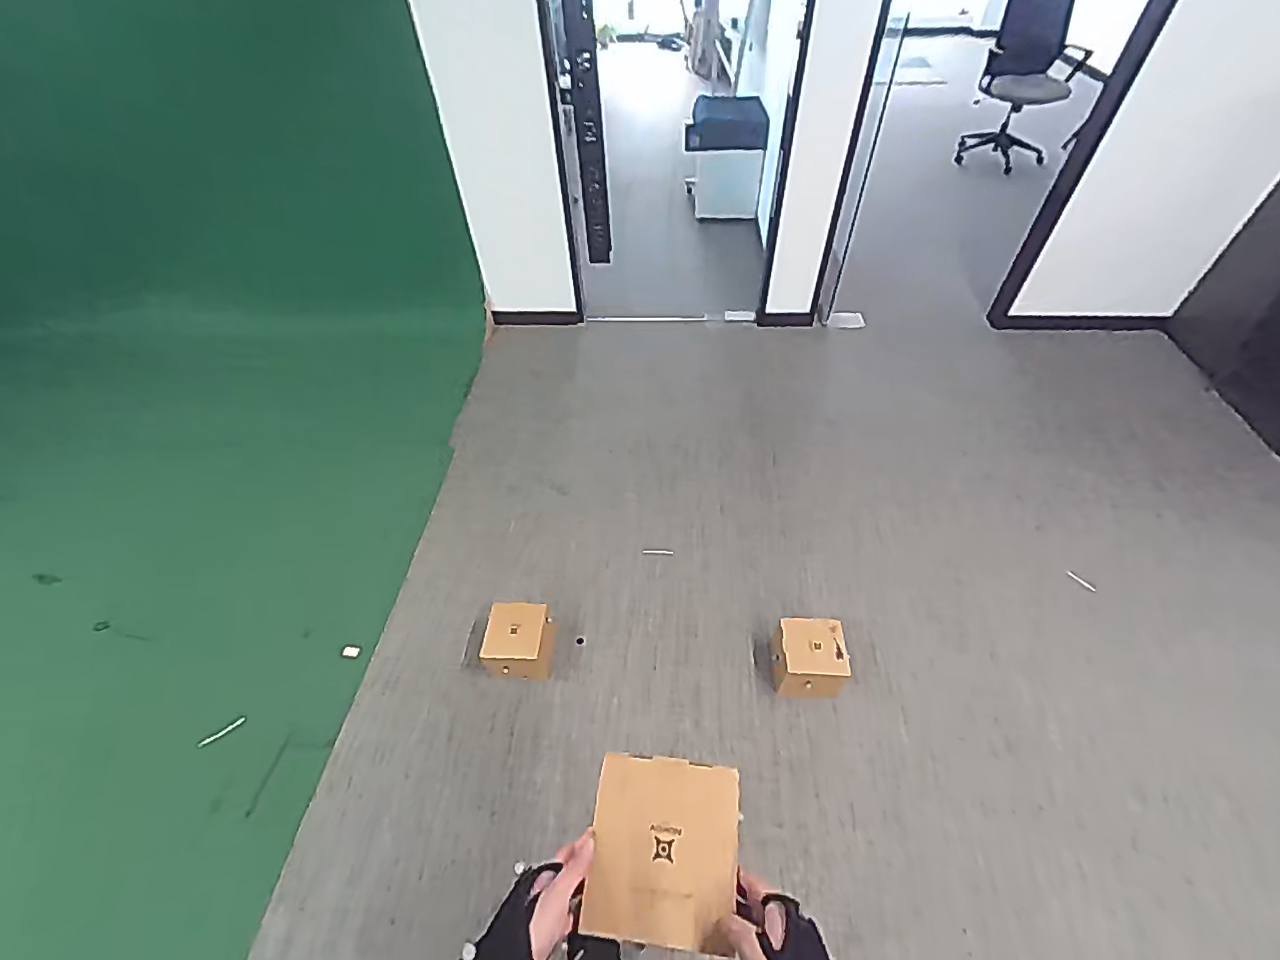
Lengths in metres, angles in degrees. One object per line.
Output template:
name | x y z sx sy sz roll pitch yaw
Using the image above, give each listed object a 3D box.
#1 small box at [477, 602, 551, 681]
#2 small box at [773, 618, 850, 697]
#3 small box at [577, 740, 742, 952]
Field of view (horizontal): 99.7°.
small box | -0.365 0.484 1.609 0.168 0.176 0.179 1 47 3
small box | 0.484 0.514 1.559 0.179 0.176 0.168 2 49 3
small box | 0.027 0.438 0.658 0.168 0.176 0.179 6 55 6
